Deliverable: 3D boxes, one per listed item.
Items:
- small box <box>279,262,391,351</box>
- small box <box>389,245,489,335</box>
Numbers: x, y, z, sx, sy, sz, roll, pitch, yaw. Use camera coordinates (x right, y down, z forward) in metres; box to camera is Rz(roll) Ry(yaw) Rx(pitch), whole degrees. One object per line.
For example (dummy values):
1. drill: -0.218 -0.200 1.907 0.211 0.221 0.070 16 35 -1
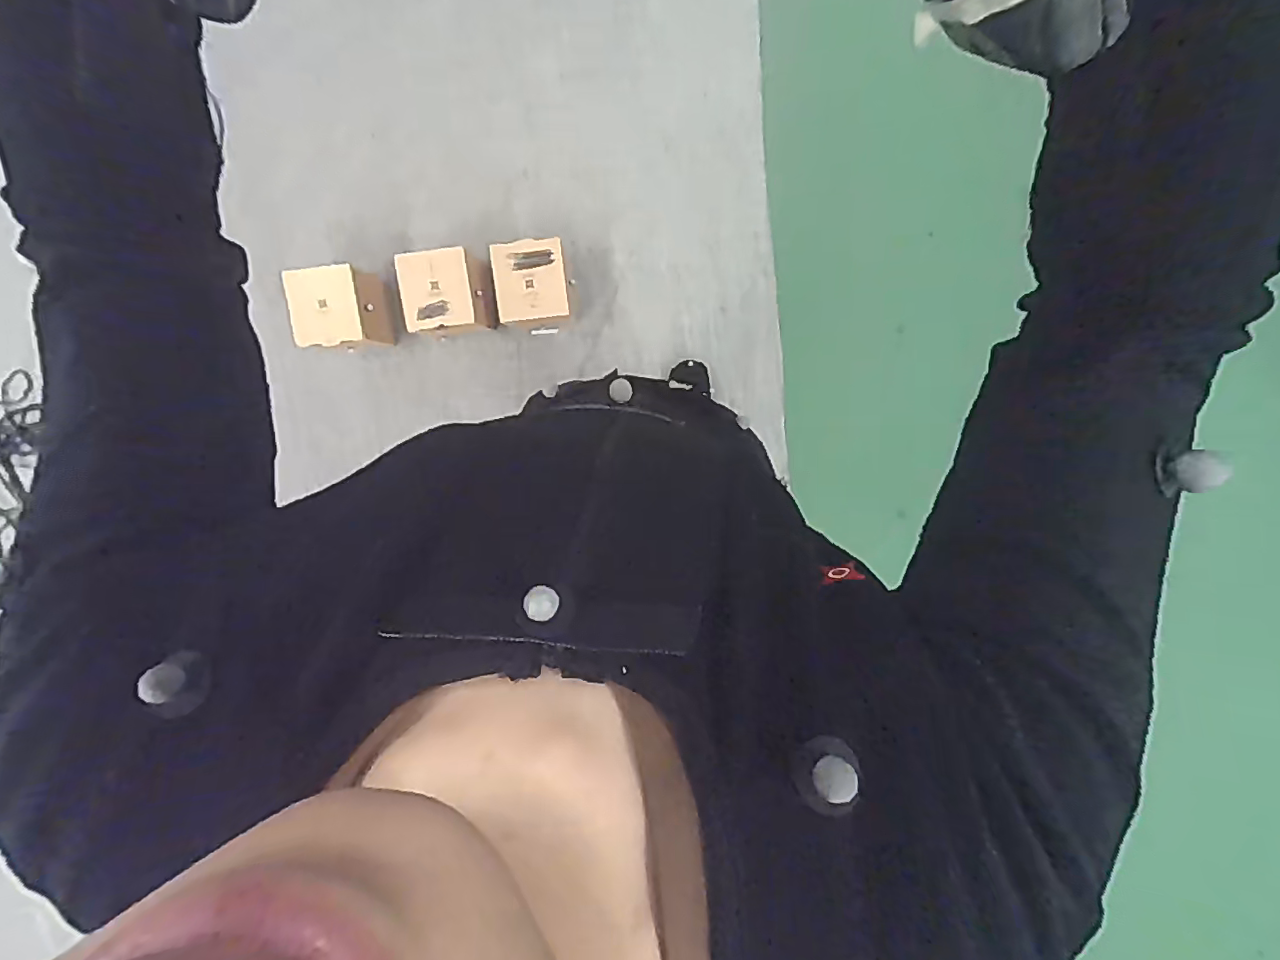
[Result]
1. small box: -0.745 -0.422 1.338 0.168 0.176 0.179 -6 99 3
2. small box: -0.481 -0.455 1.324 0.168 0.176 0.179 -6 98 3
